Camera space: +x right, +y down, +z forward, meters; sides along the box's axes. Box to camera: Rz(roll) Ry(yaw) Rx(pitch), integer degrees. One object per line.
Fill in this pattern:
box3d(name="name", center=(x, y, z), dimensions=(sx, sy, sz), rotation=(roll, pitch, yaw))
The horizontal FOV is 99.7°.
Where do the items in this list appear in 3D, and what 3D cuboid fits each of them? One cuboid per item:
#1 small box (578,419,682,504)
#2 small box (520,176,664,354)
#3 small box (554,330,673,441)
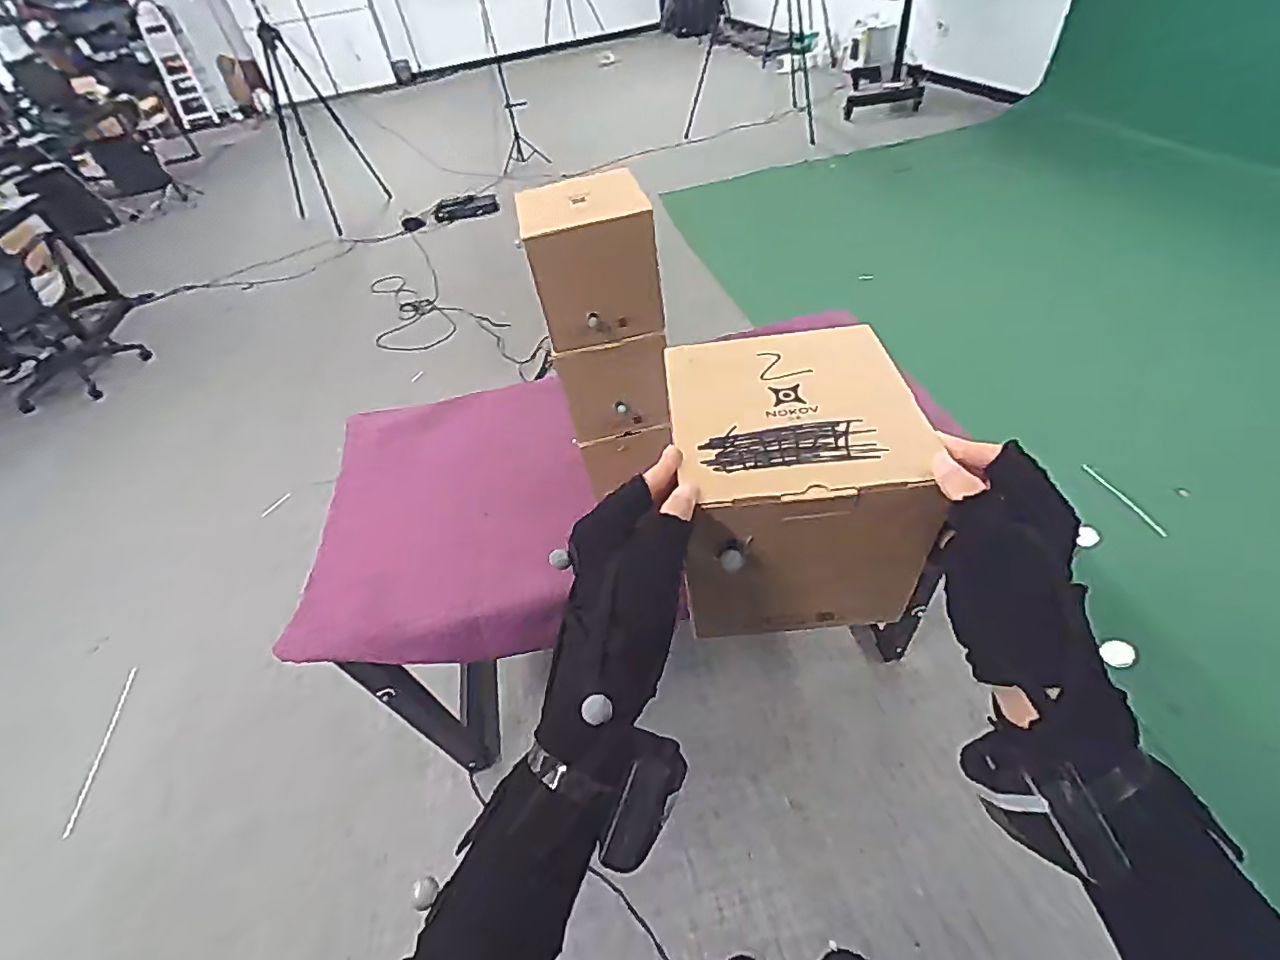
box3d(name="small box", center=(-0.022, -0.074, 1.000), dimensions=(0.168, 0.176, 0.179), rotation=(-13, 45, -2))
box3d(name="small box", center=(-0.068, -0.306, 0.774), dimensions=(0.168, 0.176, 0.179), rotation=(-14, 46, -2))
box3d(name="small box", center=(-0.047, -0.191, 0.888), dimensions=(0.168, 0.176, 0.179), rotation=(-13, 46, -2))
